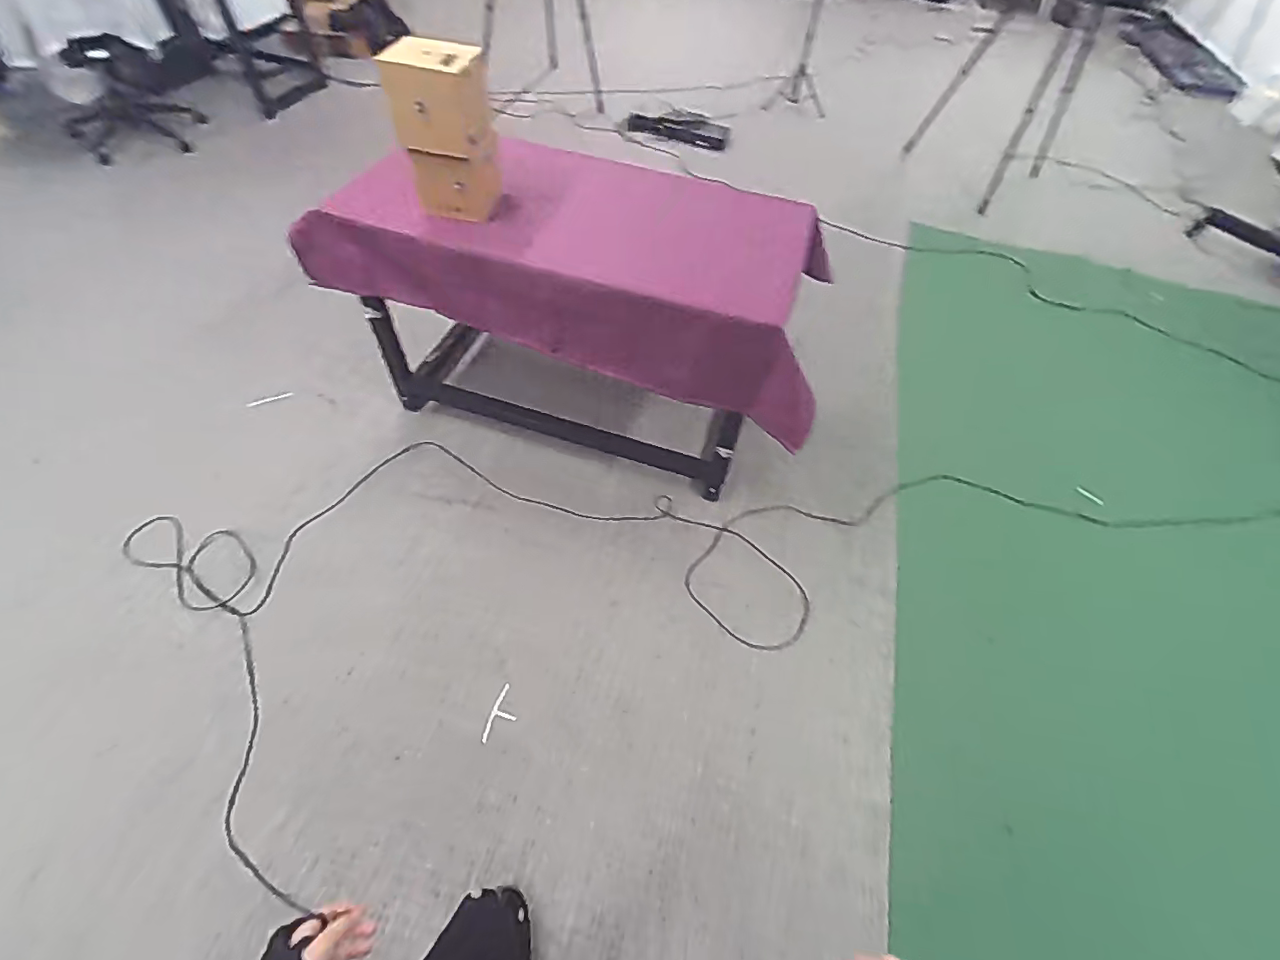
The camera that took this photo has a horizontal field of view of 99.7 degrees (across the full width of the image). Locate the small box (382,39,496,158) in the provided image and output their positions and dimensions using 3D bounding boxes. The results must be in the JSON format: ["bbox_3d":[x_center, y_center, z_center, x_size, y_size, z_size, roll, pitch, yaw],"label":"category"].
[{"bbox_3d":[-0.442,-0.858,1.225,0.179,0.176,0.168,11,53,3],"label":"small box"}]

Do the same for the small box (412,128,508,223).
[{"bbox_3d":[-0.445,-0.780,1.371,0.168,0.176,0.179,12,53,3],"label":"small box"}]
